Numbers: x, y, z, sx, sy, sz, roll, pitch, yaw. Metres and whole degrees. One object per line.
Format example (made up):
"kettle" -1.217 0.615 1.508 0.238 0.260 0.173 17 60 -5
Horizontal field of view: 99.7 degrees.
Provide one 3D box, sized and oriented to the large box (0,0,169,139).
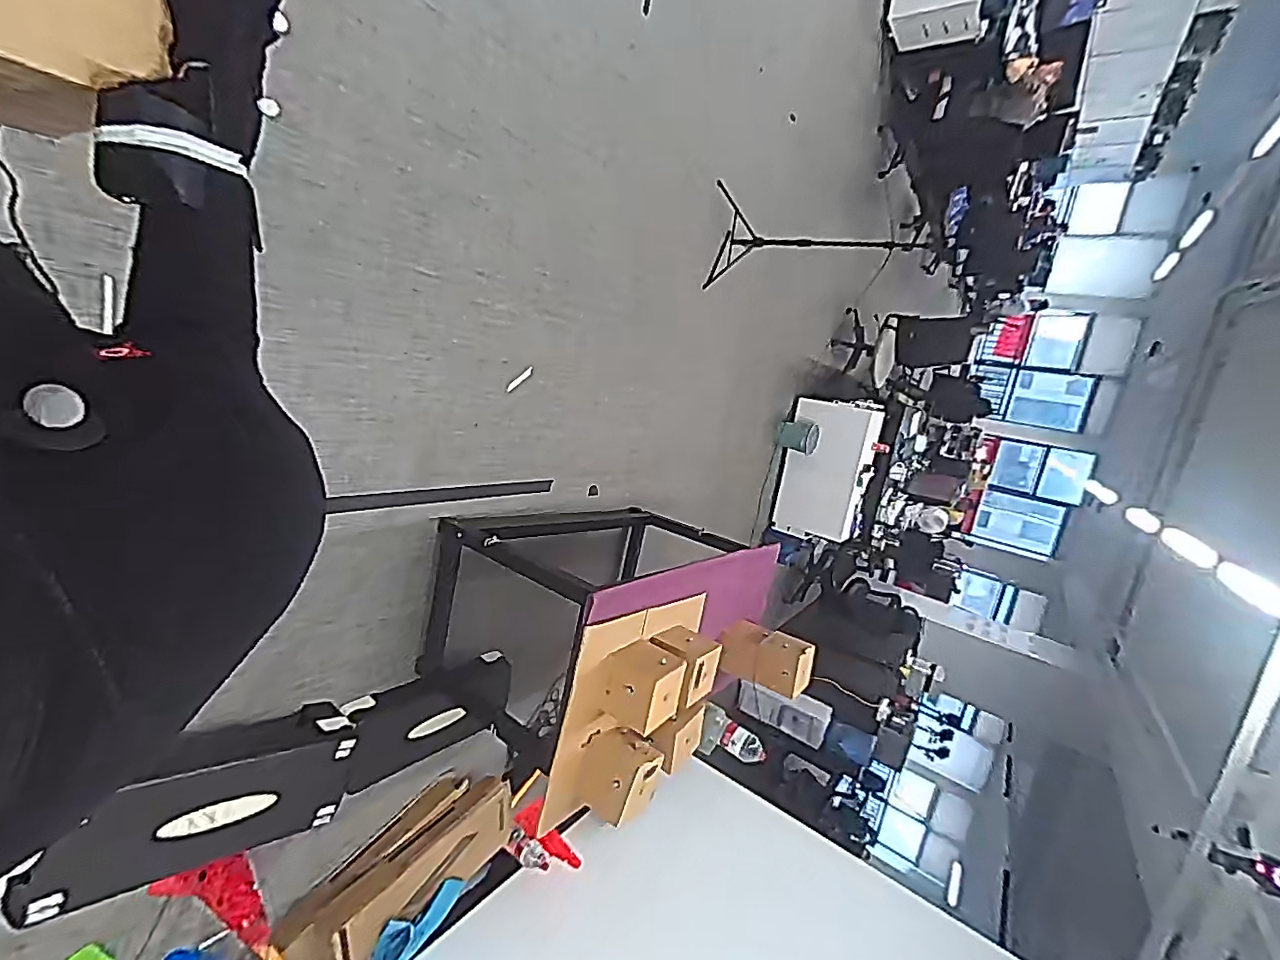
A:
"large box" -0.540 -0.416 0.258 0.408 0.320 0.320 -10 115 -57
